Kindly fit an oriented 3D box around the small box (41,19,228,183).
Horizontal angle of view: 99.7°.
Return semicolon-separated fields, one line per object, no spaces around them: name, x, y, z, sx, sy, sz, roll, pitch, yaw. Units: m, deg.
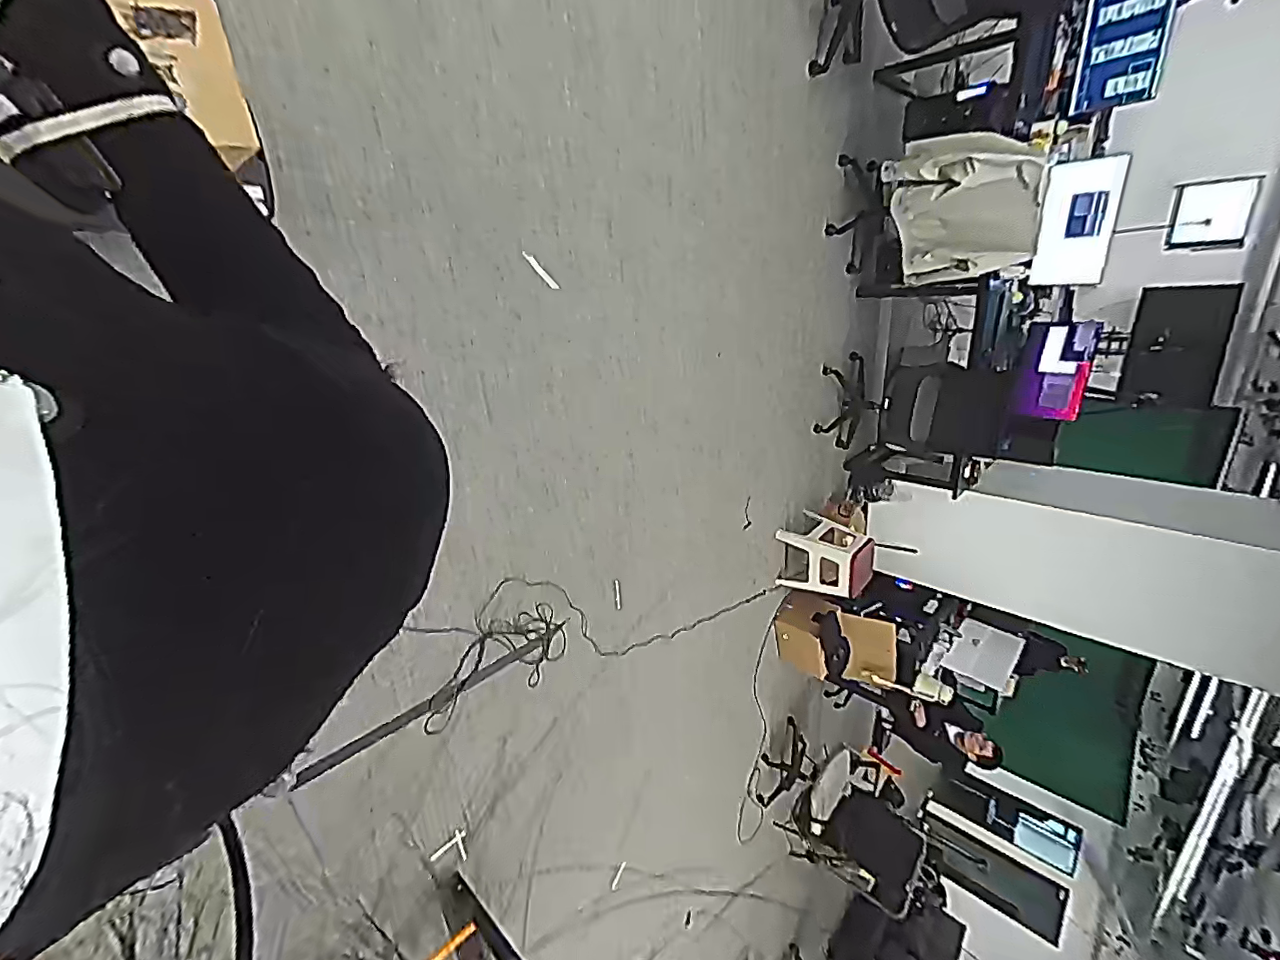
small box;-0.796;-0.576;0.855;0.168;0.176;0.179;-26;120;-40

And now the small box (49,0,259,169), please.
small box;-0.672;-0.550;0.751;0.168;0.176;0.179;-26;120;-39
